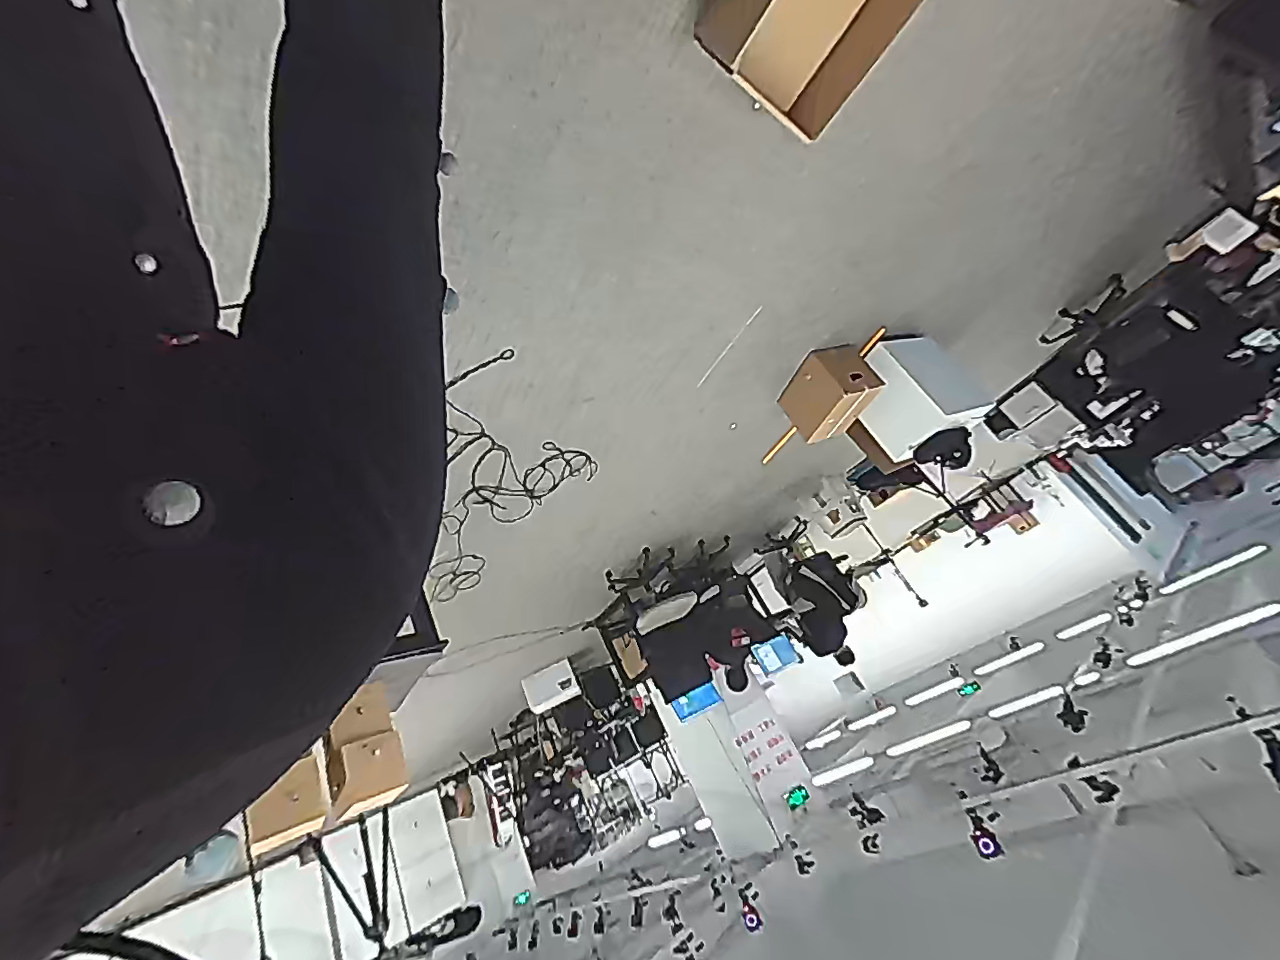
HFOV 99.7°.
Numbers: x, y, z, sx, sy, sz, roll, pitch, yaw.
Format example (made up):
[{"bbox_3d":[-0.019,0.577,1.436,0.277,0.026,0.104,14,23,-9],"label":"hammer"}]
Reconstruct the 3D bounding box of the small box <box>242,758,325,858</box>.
[{"bbox_3d":[-0.972,0.884,1.470,0.168,0.176,0.179,-7,147,-38],"label":"small box"}]
